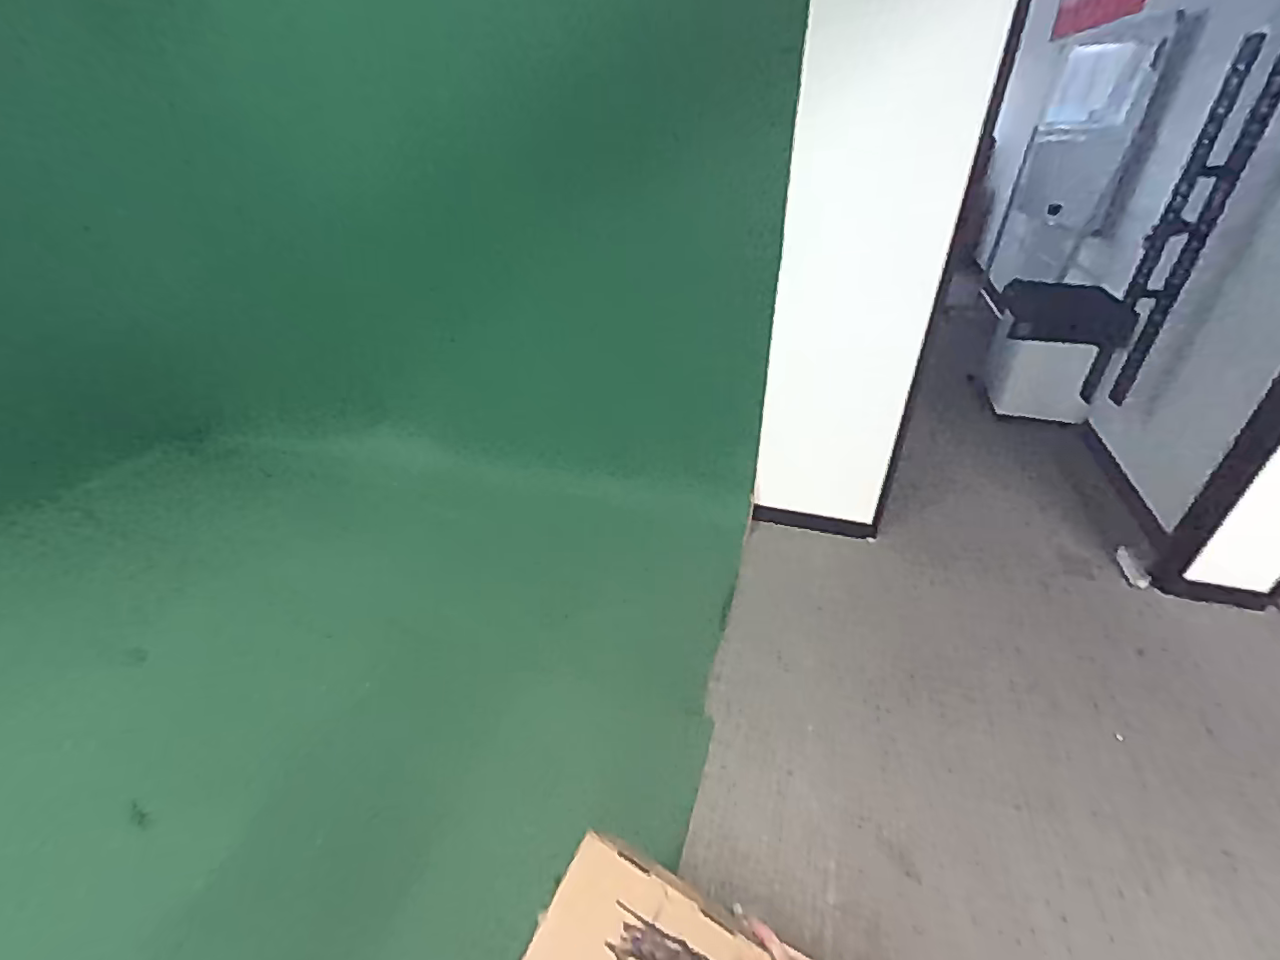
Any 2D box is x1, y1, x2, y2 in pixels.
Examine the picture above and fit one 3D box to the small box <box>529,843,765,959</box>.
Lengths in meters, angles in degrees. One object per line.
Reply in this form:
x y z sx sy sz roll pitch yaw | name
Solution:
-0.003 0.431 0.435 0.168 0.176 0.179 21 61 23 | small box
